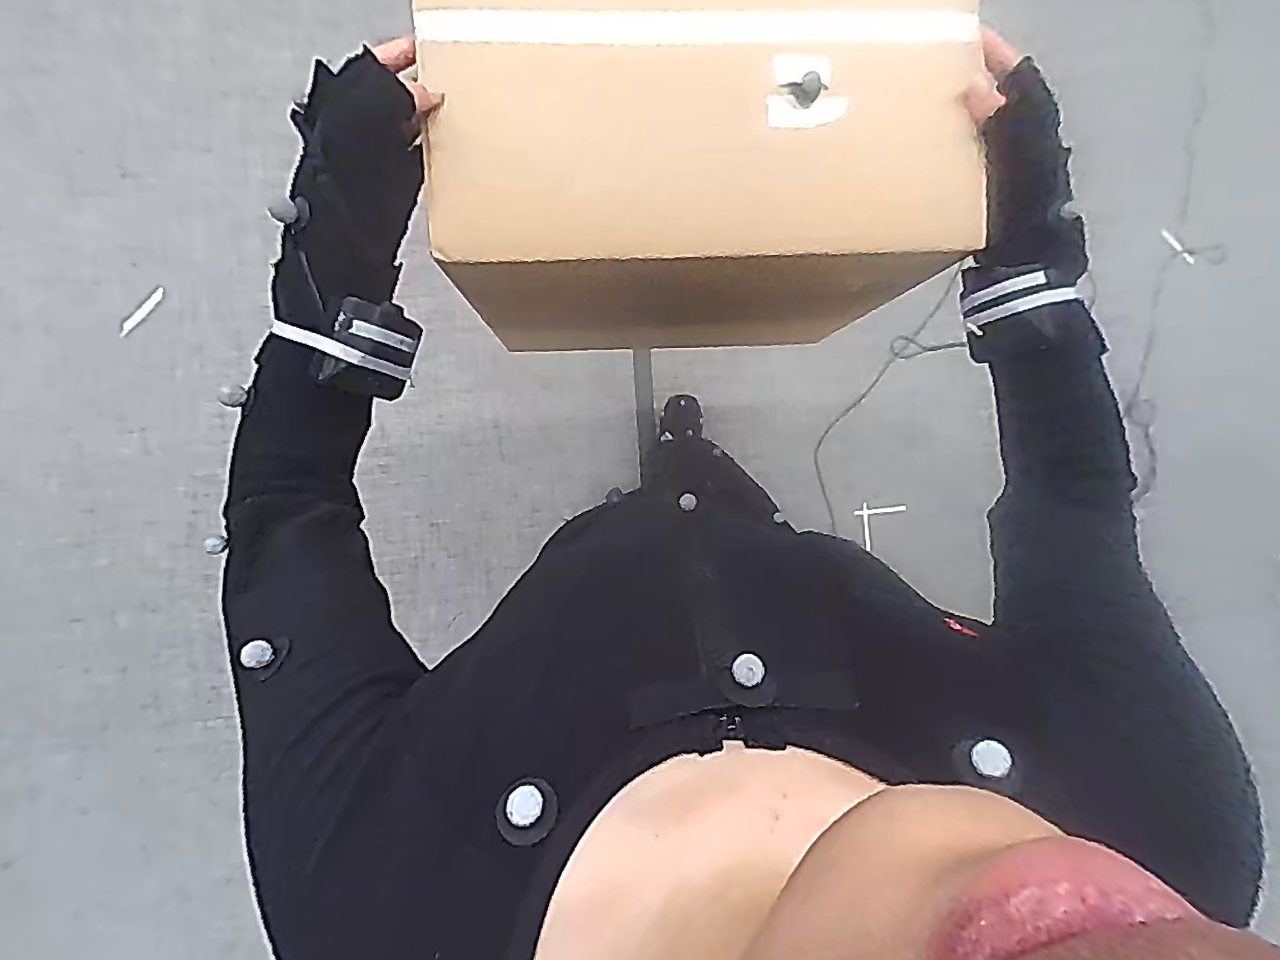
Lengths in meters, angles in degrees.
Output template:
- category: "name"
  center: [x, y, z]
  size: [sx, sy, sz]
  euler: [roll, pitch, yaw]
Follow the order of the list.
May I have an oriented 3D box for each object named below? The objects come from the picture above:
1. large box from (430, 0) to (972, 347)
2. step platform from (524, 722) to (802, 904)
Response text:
- category: "large box"
  center: [0.037, -0.331, 0.546]
  size: [0.408, 0.320, 0.320]
  euler: [-4, 92, -5]
- category: "step platform"
  center: [0.056, 0.833, 1.369]
  size: [0.684, 0.204, 0.286]
  euler: [-7, 88, -2]
